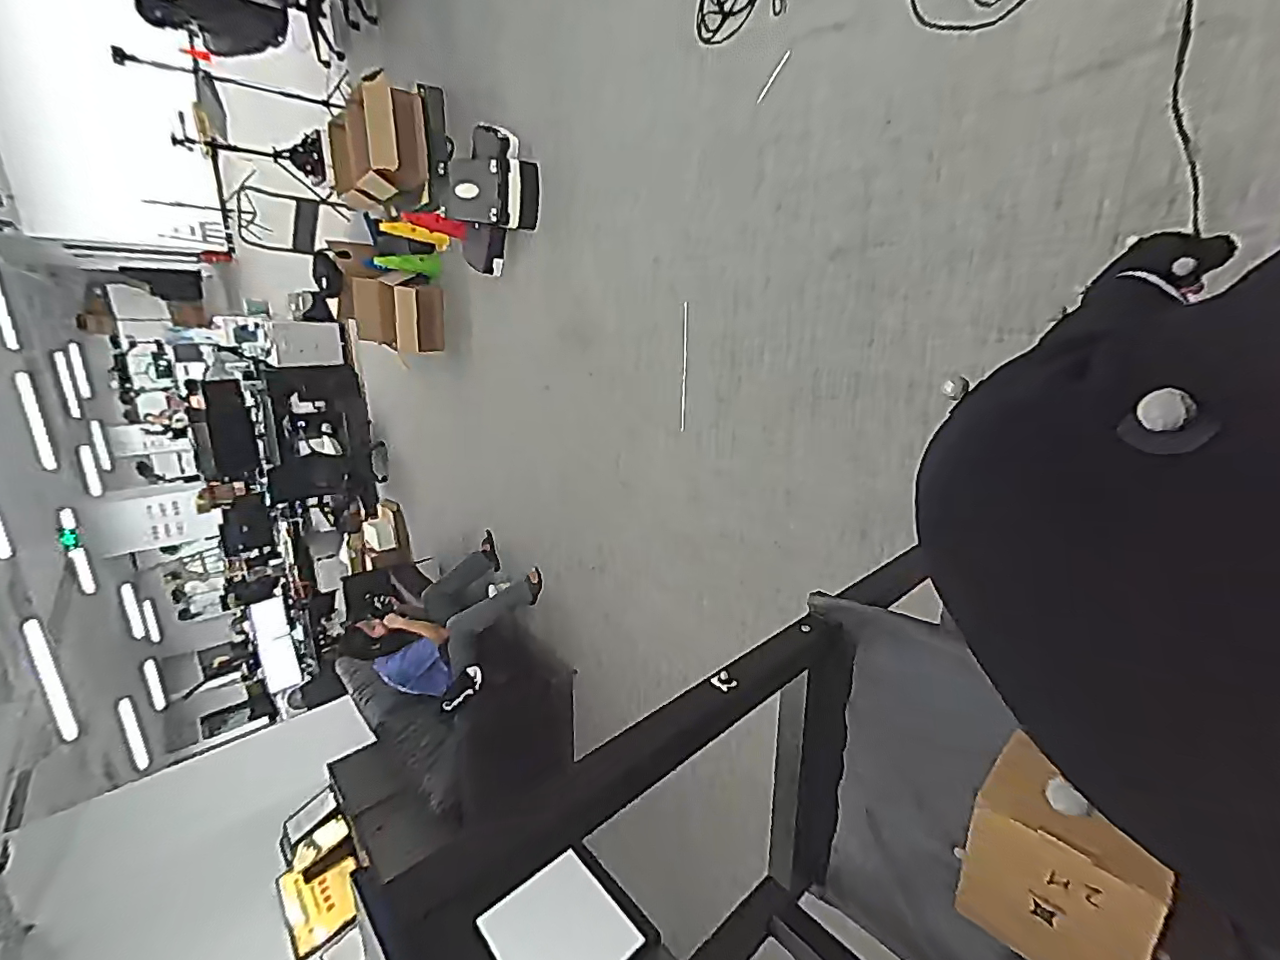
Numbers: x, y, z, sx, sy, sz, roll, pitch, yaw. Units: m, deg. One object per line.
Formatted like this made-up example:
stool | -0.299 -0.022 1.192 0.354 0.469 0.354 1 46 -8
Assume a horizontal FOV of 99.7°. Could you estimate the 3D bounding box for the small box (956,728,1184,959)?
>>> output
small box | 0.499 0.436 0.631 0.168 0.176 0.179 17 114 45
